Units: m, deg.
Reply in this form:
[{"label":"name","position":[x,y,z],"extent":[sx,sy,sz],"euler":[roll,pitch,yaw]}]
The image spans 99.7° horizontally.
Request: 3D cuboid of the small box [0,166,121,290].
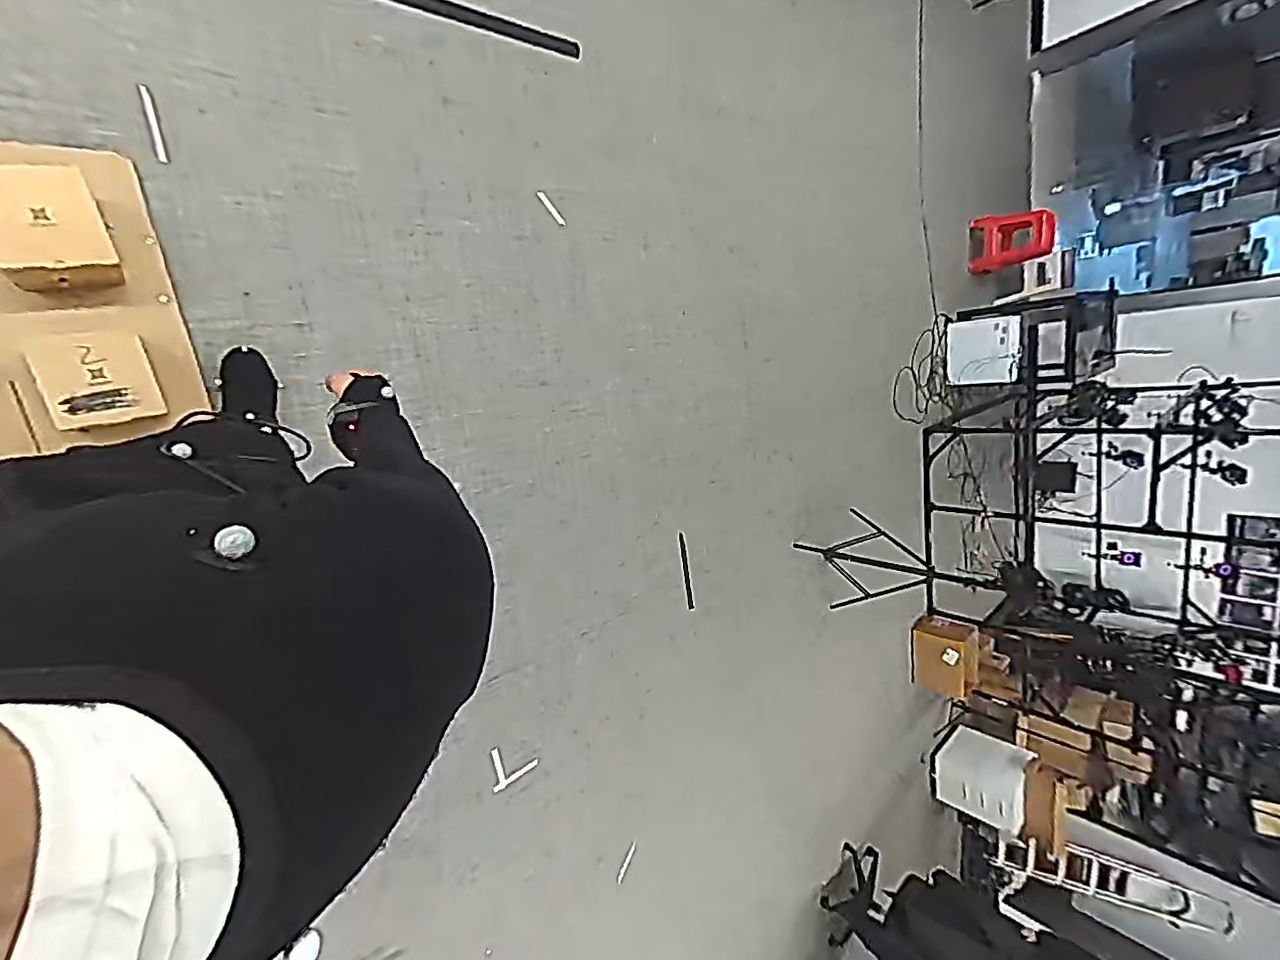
[{"label":"small box","position":[-1.141,-0.479,1.037],"extent":[0.168,0.176,0.179],"euler":[-23,109,-37]}]
